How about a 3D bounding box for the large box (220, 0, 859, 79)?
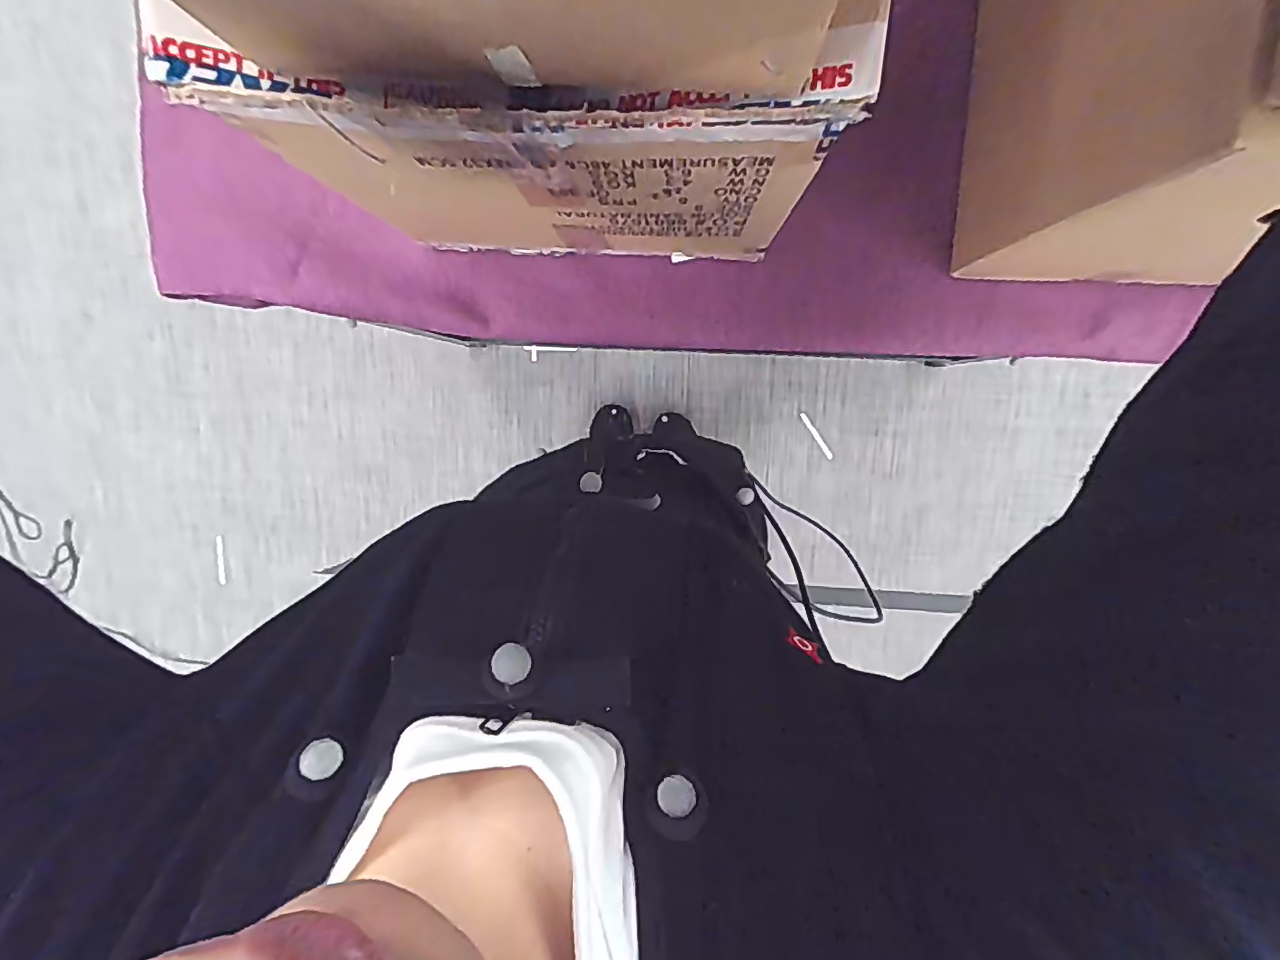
[{"bbox_3d":[-0.050,-0.394,0.118,0.320,0.320,0.408,5,100,5],"label":"large box"}]
